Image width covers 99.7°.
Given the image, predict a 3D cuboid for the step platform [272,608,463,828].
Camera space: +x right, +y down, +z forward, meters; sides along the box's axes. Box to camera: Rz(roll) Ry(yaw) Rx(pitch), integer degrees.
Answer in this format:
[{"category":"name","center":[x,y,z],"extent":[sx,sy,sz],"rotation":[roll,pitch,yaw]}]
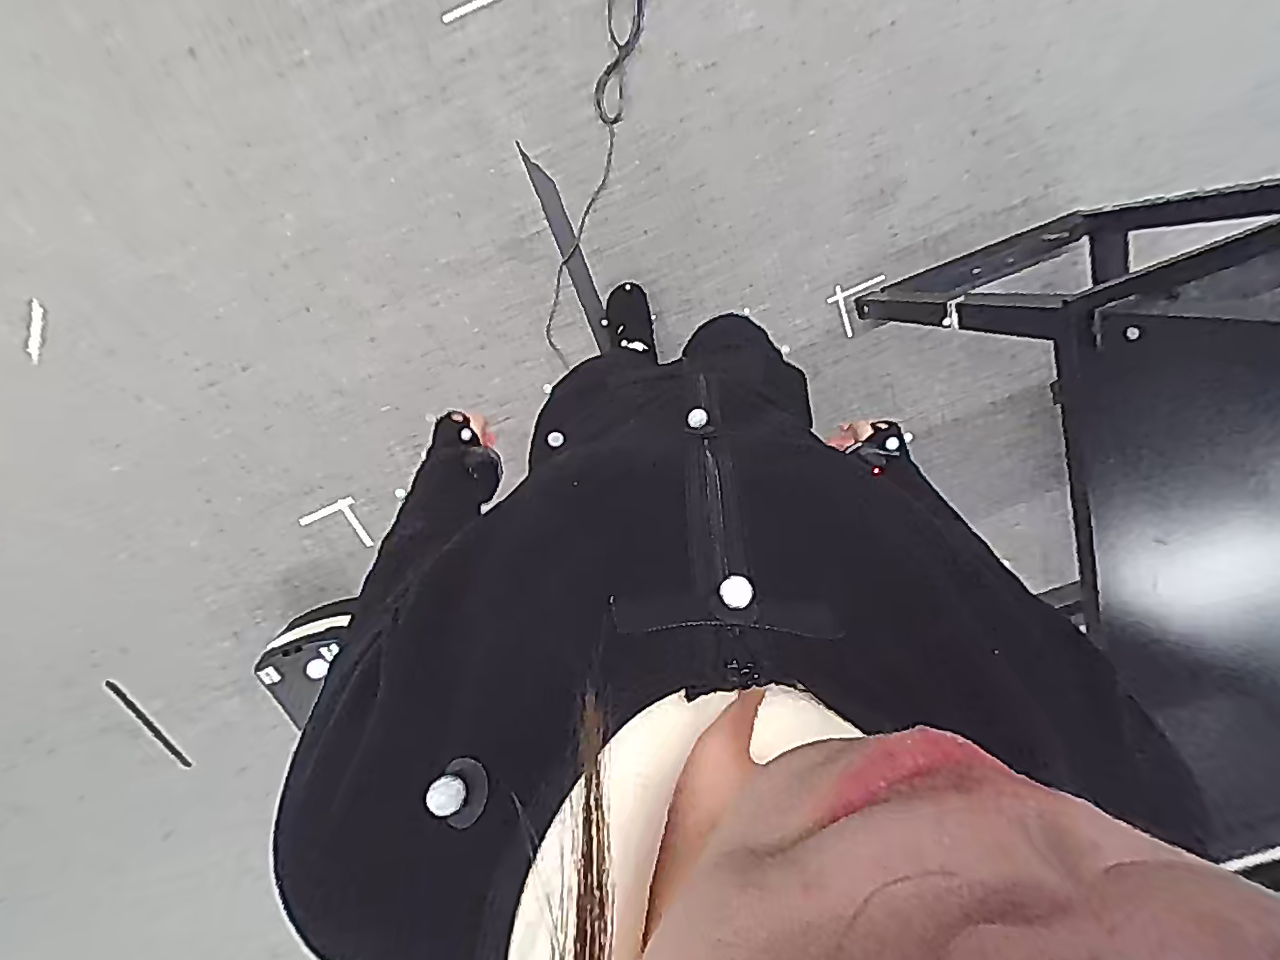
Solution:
[{"category":"step platform","center":[-0.804,0.741,1.650],"extent":[0.286,0.204,0.684],"rotation":[-16,110,3]}]
